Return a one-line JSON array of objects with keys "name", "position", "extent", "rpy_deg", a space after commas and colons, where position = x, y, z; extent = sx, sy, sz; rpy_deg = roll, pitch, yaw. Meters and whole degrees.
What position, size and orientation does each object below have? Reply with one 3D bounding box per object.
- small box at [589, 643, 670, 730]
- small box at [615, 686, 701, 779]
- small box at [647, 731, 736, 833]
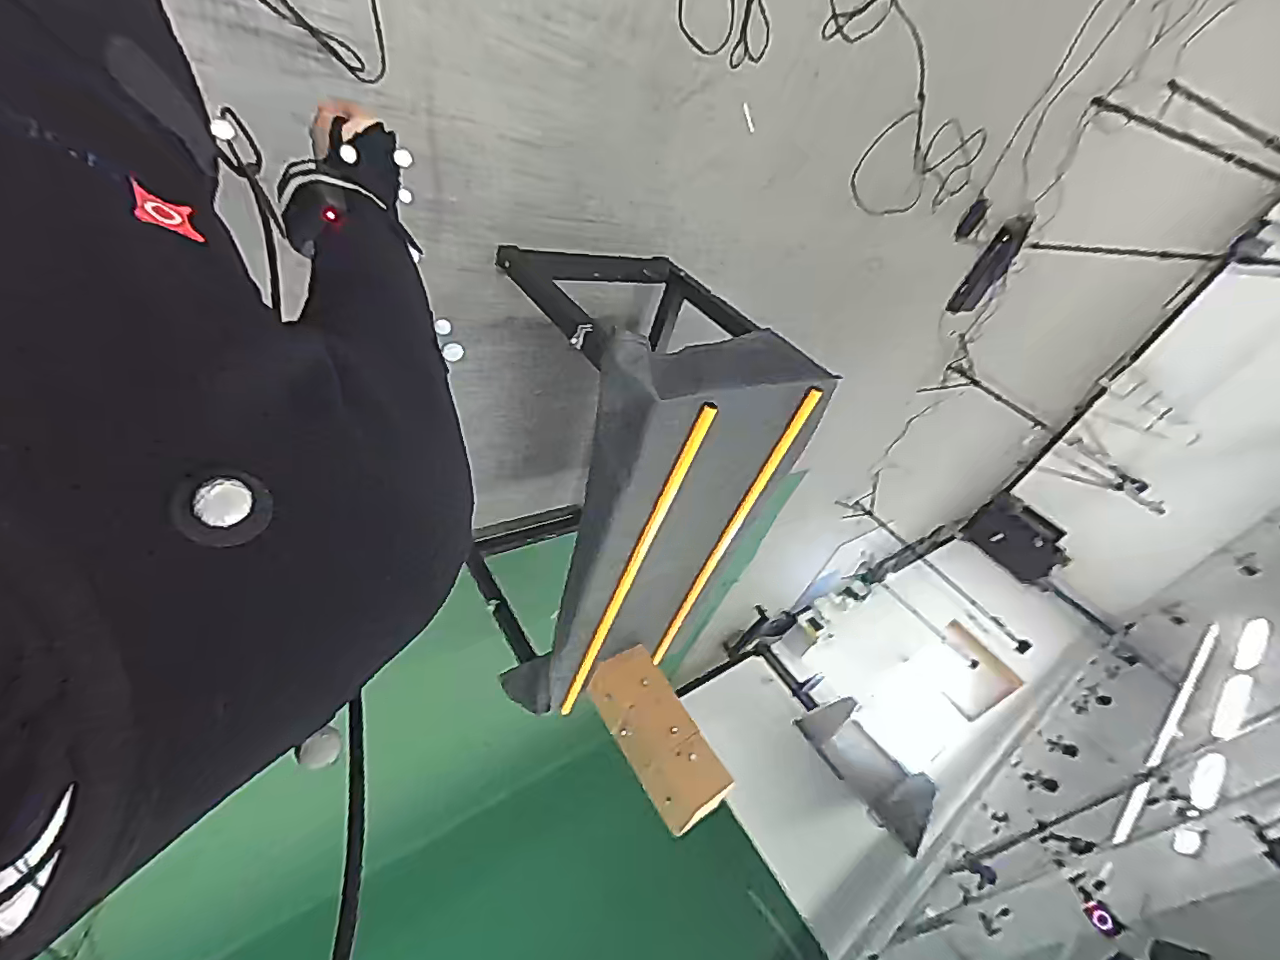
[{"name": "small box", "position": [-0.040, 0.661, 1.744], "extent": [0.179, 0.176, 0.168], "rpy_deg": [-13, 138, -38]}, {"name": "small box", "position": [0.052, 0.769, 1.664], "extent": [0.179, 0.176, 0.168], "rpy_deg": [-14, 138, -36]}, {"name": "small box", "position": [0.143, 0.874, 1.576], "extent": [0.168, 0.176, 0.179], "rpy_deg": [-15, 138, -37]}]
